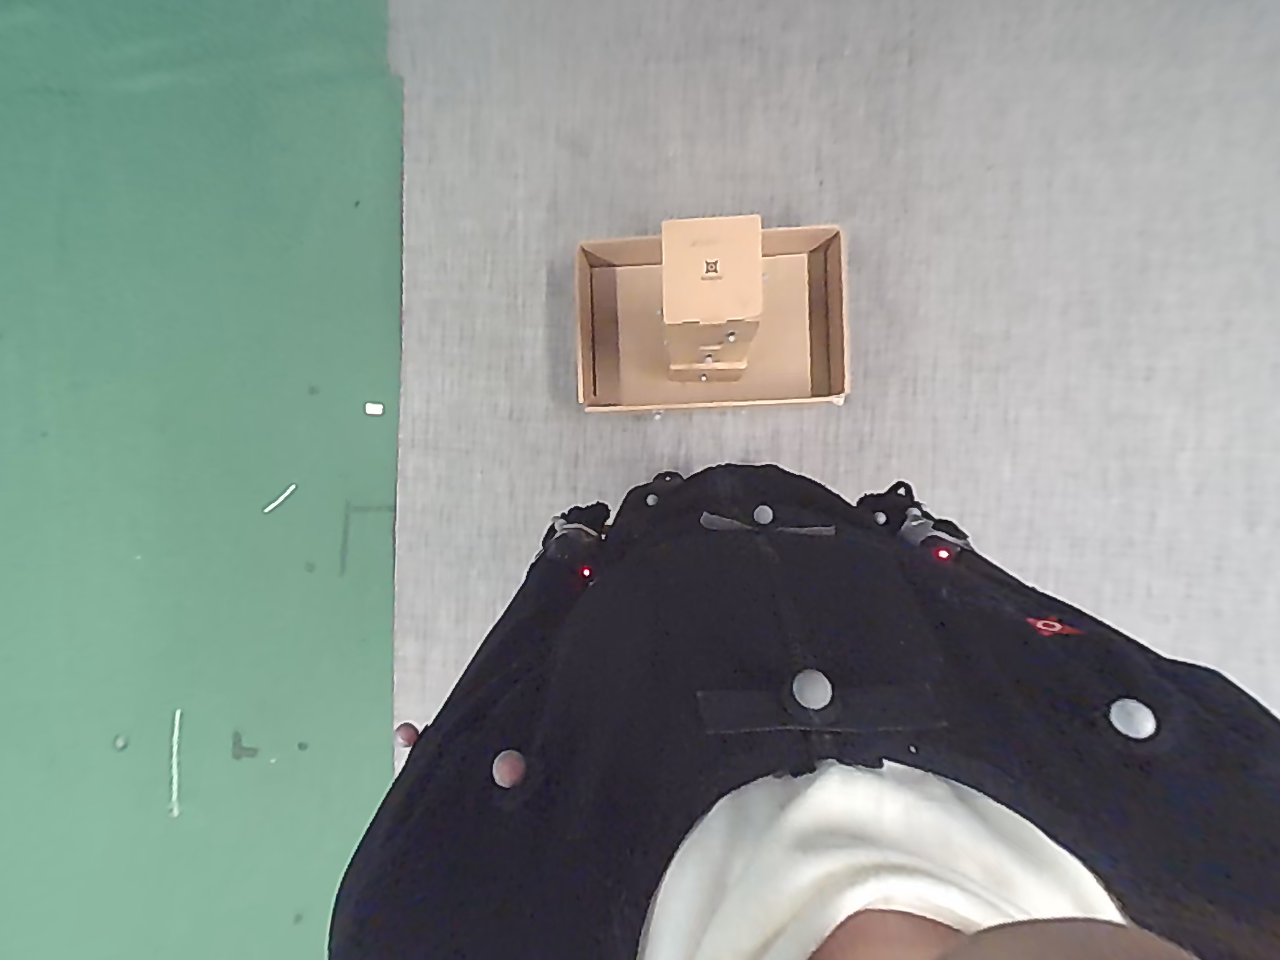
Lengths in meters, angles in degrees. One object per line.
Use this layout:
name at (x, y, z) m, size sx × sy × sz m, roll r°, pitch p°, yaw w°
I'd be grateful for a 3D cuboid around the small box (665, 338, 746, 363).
small box at (0.137, -0.354, 1.162) m, size 0.168 × 0.176 × 0.179 m, roll -4°, pitch 89°, yaw 6°

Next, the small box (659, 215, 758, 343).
small box at (0.121, -0.351, 0.981) m, size 0.168 × 0.176 × 0.179 m, roll -1°, pitch 89°, yaw 4°

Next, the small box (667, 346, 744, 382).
small box at (0.159, -0.338, 1.320) m, size 0.179 × 0.176 × 0.168 m, roll 2°, pitch 90°, yaw 6°
